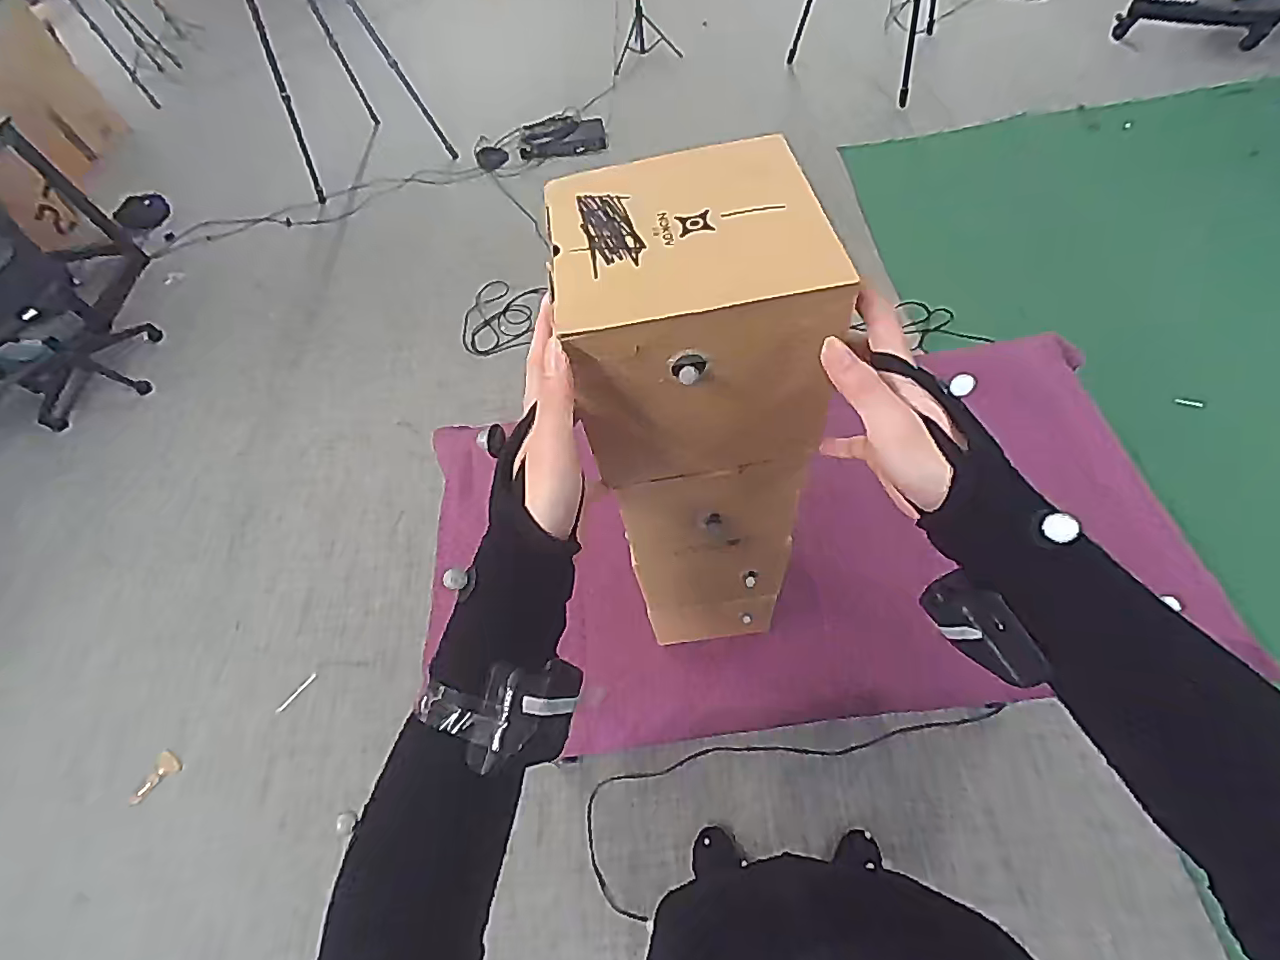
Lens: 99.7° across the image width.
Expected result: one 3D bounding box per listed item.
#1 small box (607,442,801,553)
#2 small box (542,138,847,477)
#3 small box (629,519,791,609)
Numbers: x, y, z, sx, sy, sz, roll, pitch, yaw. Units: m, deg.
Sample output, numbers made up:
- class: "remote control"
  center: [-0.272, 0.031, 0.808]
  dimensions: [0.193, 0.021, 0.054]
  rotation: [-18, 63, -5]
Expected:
- class: "small box"
  center: [0.055, -0.037, 0.555]
  dimensions: [0.168, 0.176, 0.179]
  rotation: [-10, 58, 3]
- class: "small box"
  center: [0.034, -0.119, 0.414]
  dimensions: [0.179, 0.176, 0.168]
  rotation: [-10, 58, 2]
- class: "small box"
  center: [0.079, 0.052, 0.689]
  dimensions: [0.179, 0.176, 0.168]
  rotation: [-9, 58, 4]
